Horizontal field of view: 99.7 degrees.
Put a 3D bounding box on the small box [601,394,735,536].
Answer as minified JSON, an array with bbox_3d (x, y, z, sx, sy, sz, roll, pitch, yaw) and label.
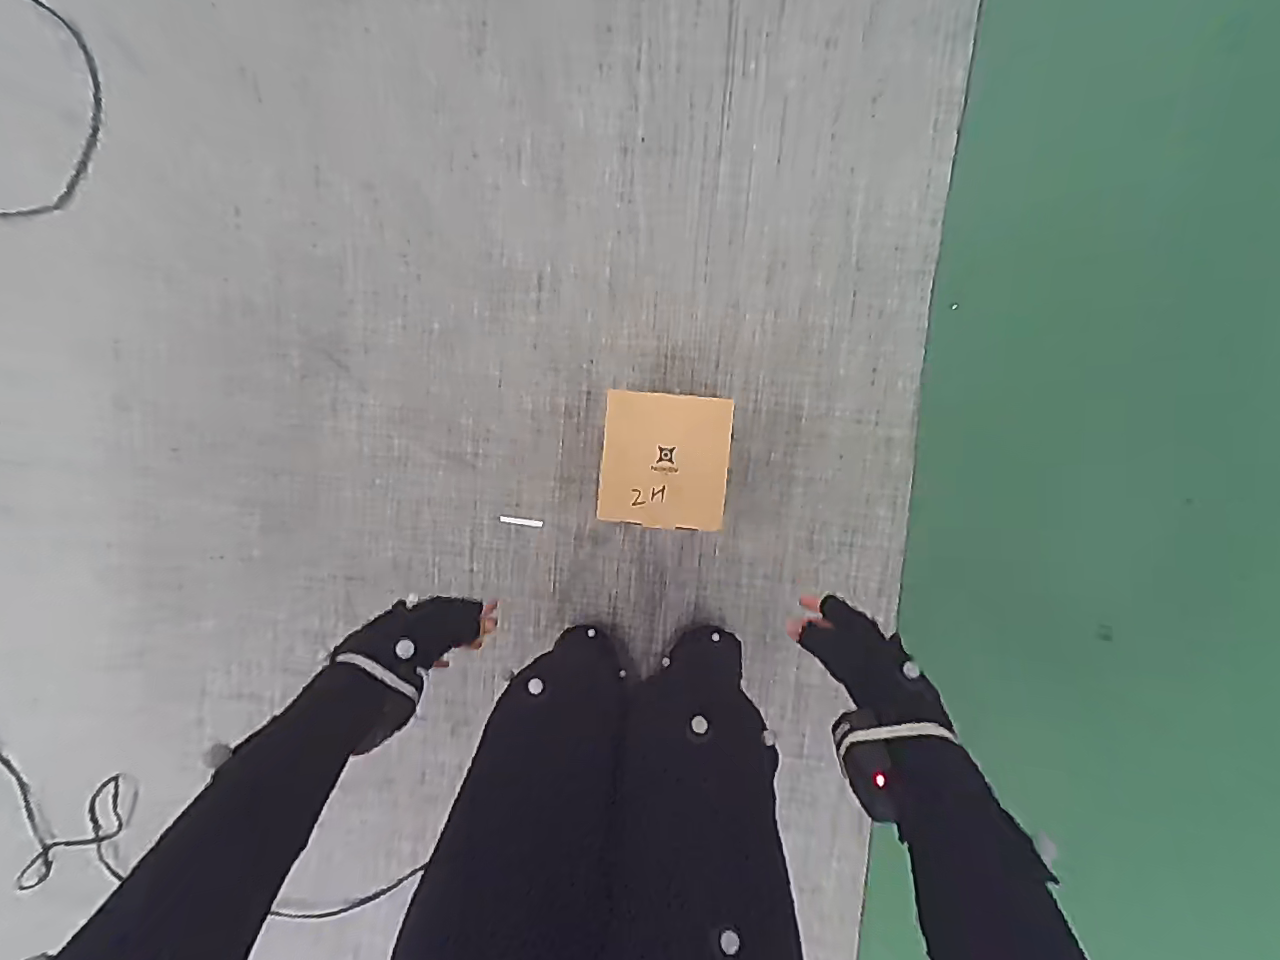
[{"bbox_3d":[0.043,-0.026,0.798,0.168,0.176,0.179,6,96,5],"label":"small box"}]
